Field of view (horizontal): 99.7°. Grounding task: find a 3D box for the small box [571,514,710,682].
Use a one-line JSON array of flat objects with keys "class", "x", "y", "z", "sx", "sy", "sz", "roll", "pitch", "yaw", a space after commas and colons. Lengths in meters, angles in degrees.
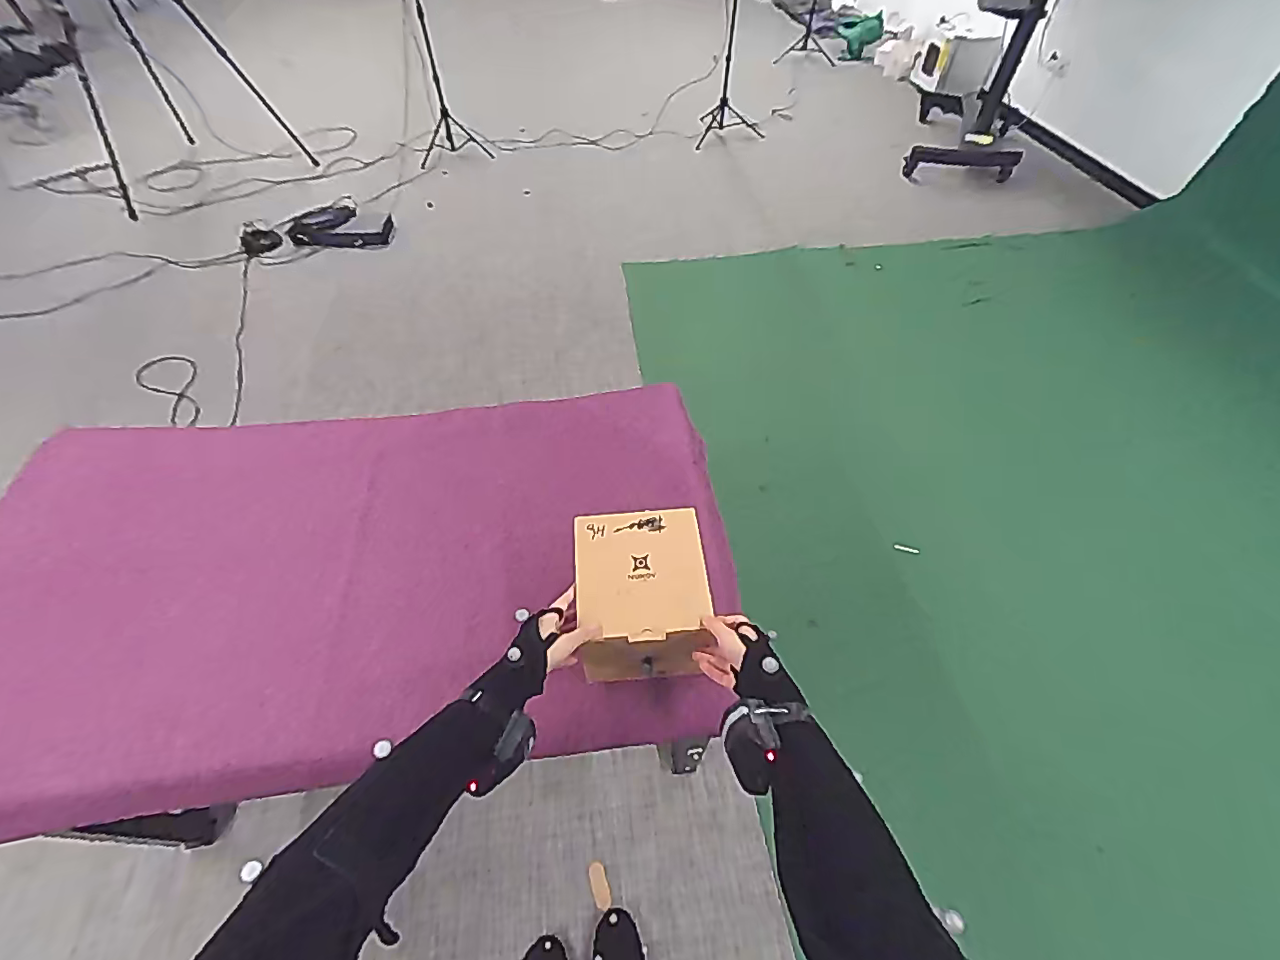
[{"class": "small box", "x": -0.002, "y": 0.168, "z": 0.740, "sx": 0.168, "sy": 0.176, "sz": 0.179, "roll": -4, "pitch": 54, "yaw": -3}]
